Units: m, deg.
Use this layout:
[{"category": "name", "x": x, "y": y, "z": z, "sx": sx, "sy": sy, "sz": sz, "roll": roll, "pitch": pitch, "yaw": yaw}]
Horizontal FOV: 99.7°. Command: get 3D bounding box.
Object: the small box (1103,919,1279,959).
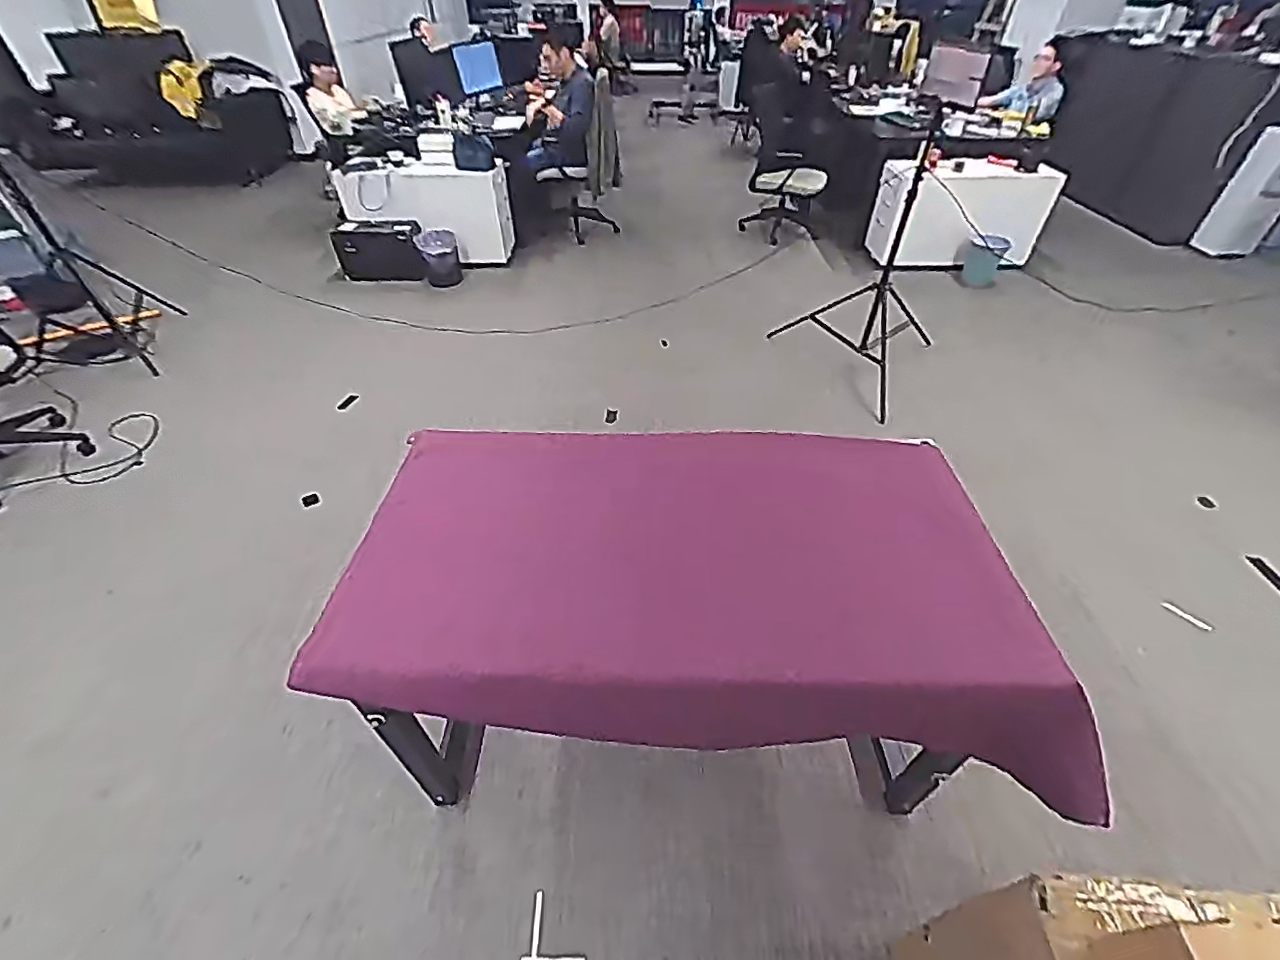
[{"category": "small box", "x": 0.655, "y": 0.590, "z": 0.569, "sx": 0.168, "sy": 0.176, "sz": 0.179, "roll": 0, "pitch": 44, "yaw": 2}]
